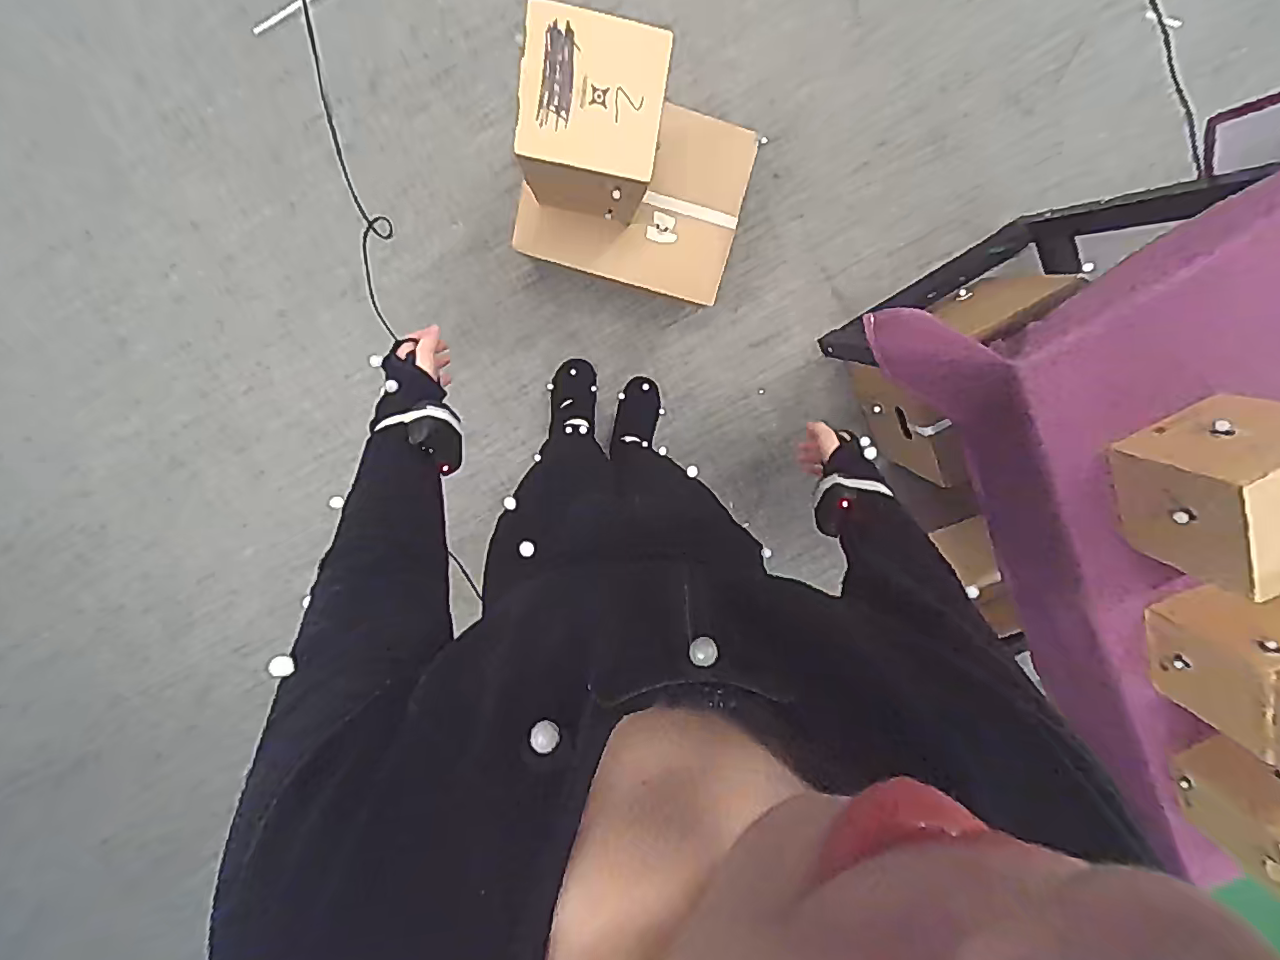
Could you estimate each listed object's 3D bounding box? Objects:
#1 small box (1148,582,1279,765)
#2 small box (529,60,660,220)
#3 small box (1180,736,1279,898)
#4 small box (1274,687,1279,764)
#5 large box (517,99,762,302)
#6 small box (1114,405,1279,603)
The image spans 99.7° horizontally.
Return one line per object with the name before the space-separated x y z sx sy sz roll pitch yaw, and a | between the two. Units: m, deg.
small box | 0.901 0.262 0.783 0.179 0.176 0.168 -22 108 4
small box | -0.076 -0.538 0.886 0.179 0.176 0.168 9 106 -7
small box | 1.039 0.535 0.879 0.179 0.176 0.168 -27 108 4
small box | 0.919 0.311 0.626 0.179 0.176 0.168 -21 108 3
large box | -0.018 -0.577 1.136 0.408 0.320 0.320 13 108 -9
small box | 0.760 0.016 0.689 0.168 0.176 0.179 -27 107 5
